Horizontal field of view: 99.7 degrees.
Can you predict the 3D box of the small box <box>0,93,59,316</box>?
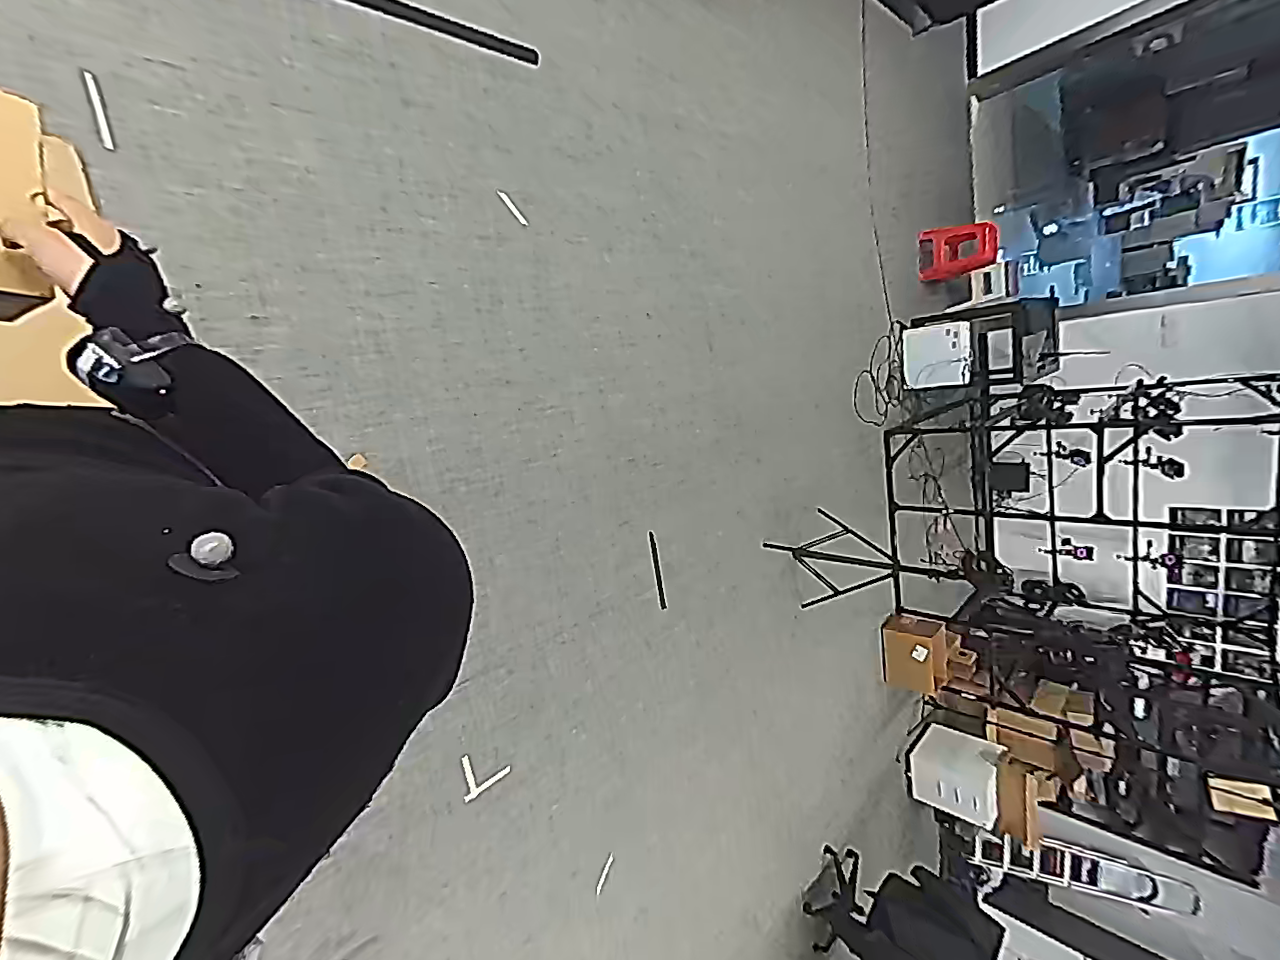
[{"bbox_3d":[-0.623,-0.234,0.437,0.179,0.176,0.168,-7,99,-58],"label":"small box"}]
